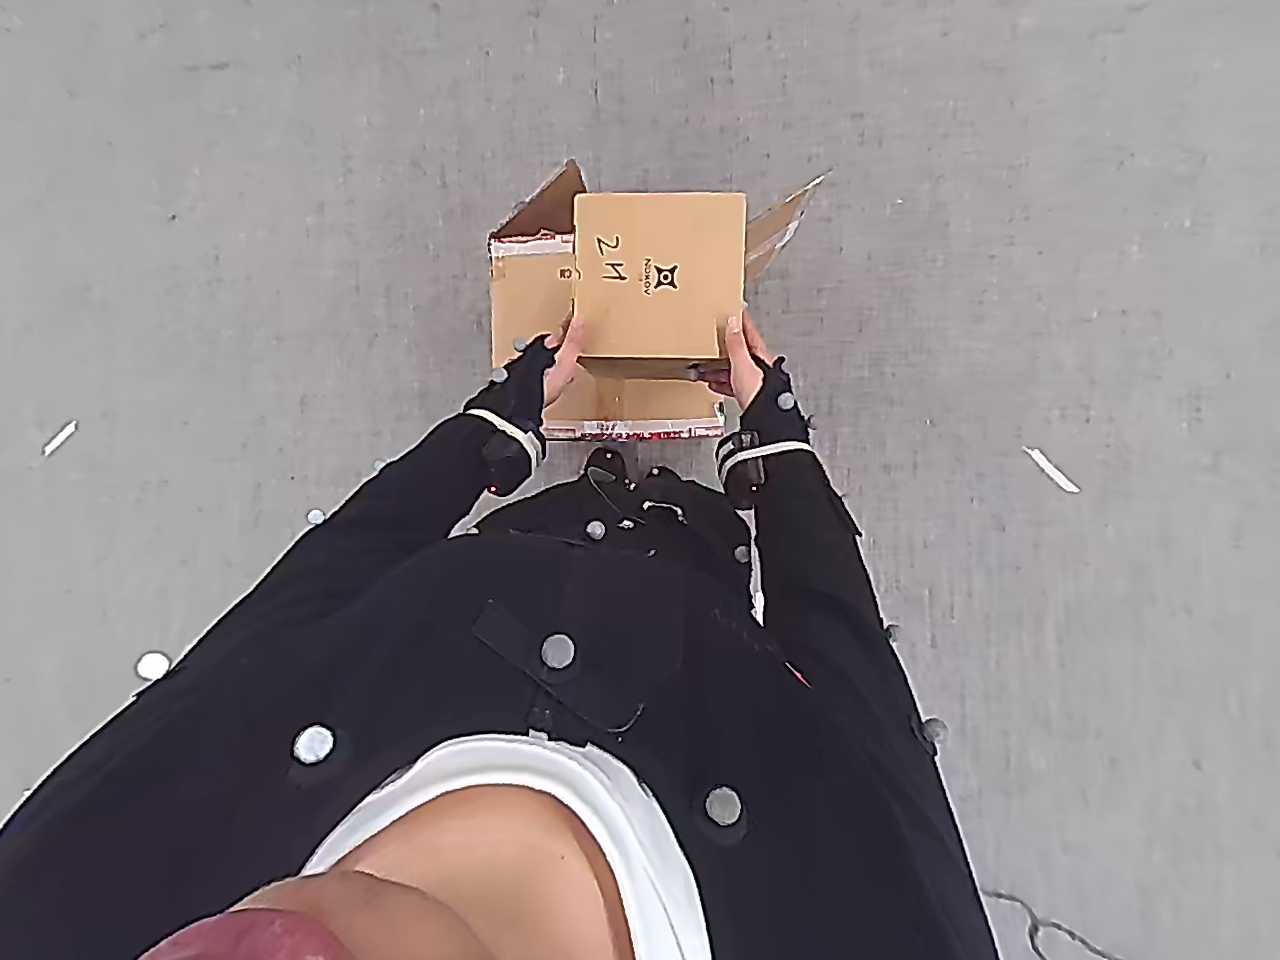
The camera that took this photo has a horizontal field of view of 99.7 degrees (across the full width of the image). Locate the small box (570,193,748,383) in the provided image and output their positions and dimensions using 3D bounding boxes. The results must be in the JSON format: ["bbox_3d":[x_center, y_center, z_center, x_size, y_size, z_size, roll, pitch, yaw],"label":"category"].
[{"bbox_3d":[0.022,-0.207,0.621,0.179,0.176,0.168,2,92,4],"label":"small box"}]
